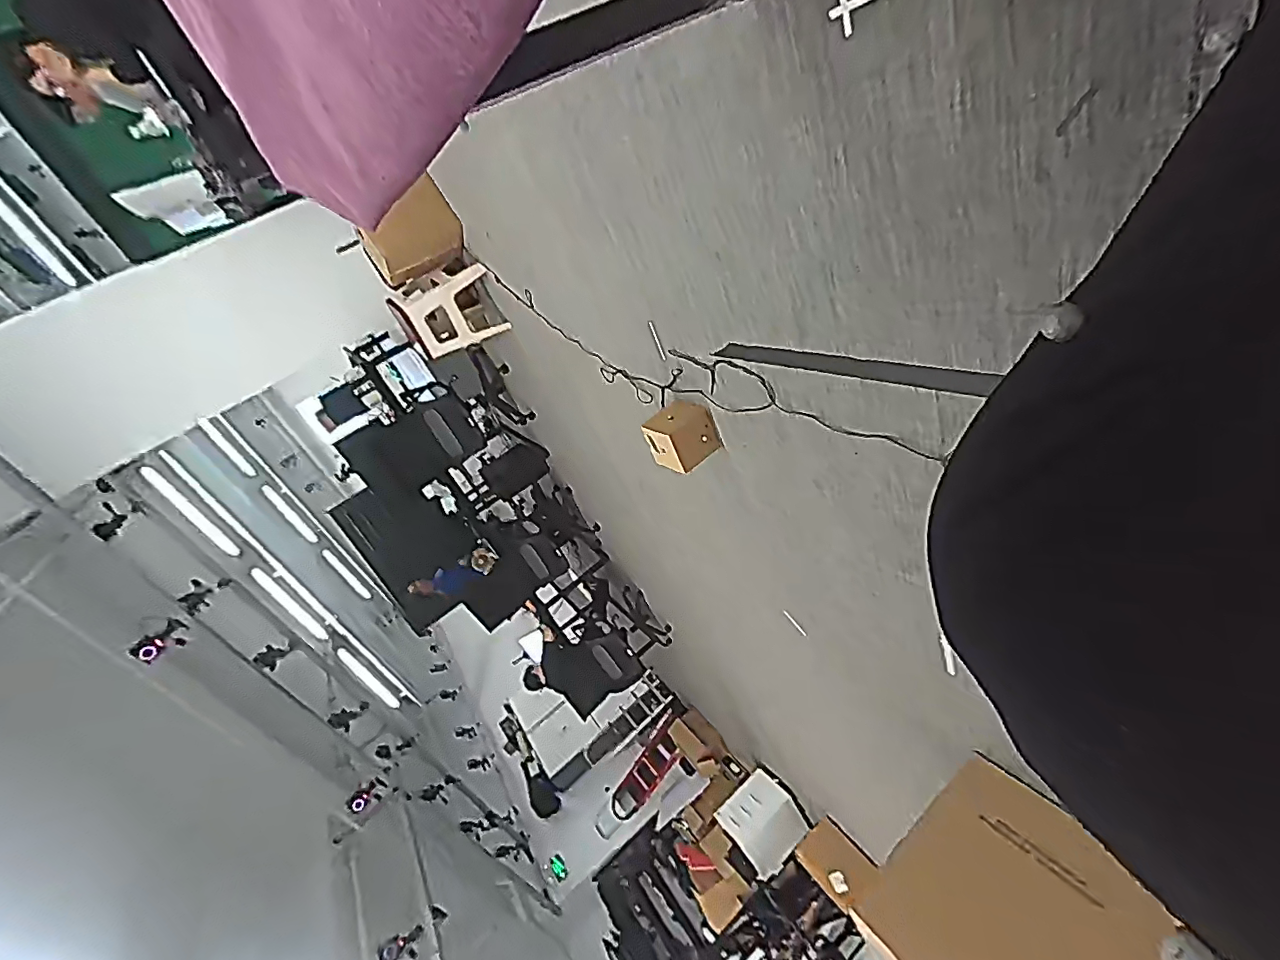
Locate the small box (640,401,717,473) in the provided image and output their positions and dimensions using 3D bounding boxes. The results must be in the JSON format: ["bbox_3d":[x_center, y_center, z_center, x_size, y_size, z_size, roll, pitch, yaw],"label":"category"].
[{"bbox_3d":[0.136,-0.155,1.868,0.179,0.176,0.168,26,148,53],"label":"small box"}]
